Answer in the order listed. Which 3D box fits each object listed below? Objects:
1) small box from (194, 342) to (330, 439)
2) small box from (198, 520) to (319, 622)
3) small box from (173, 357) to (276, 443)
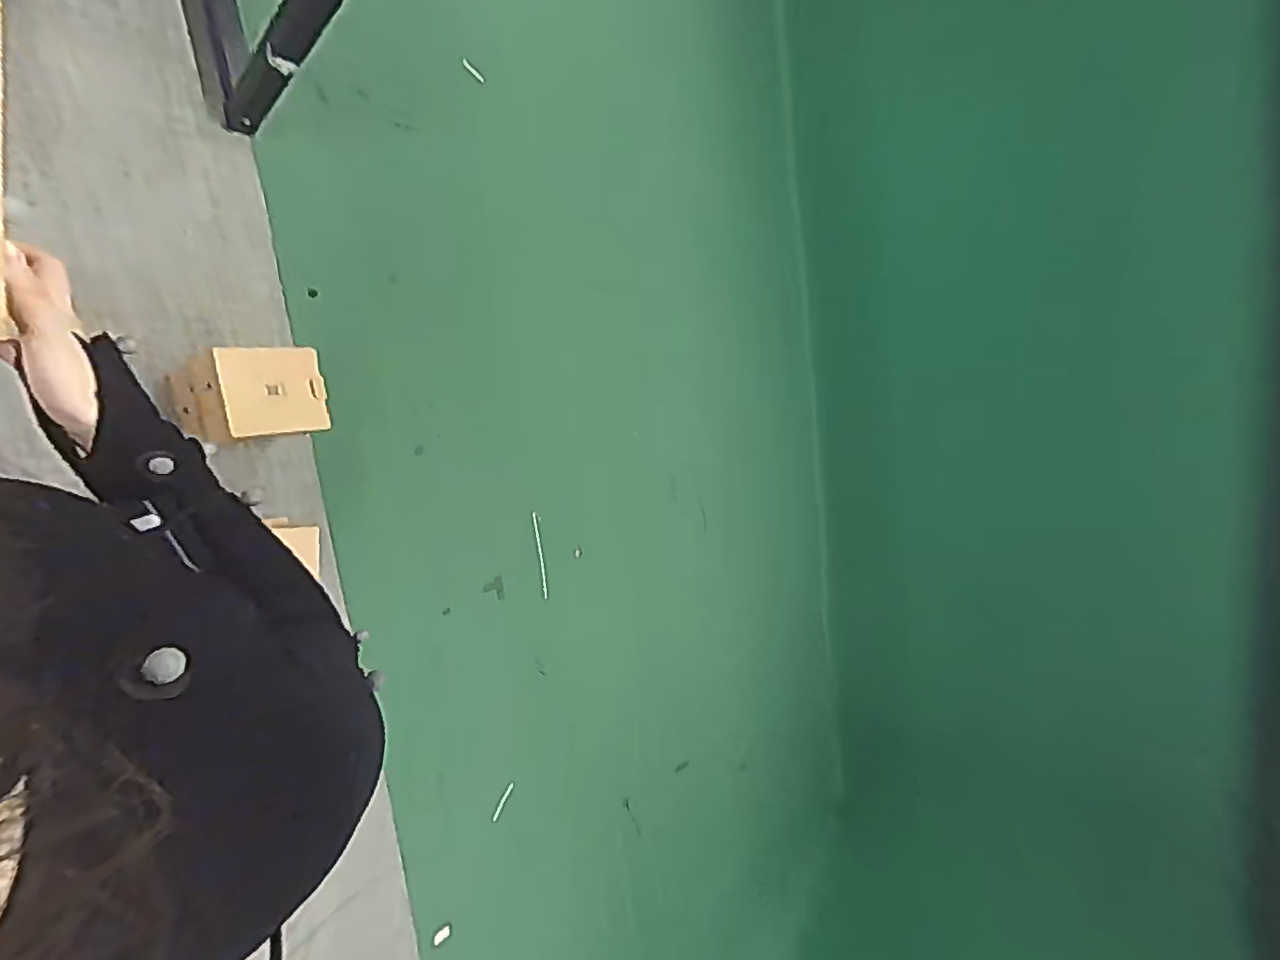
[{"bbox_3d":[-0.759,-0.178,1.081,0.179,0.176,0.168,-17,102,-50],"label":"small box"},{"bbox_3d":[-0.759,0.170,1.074,0.168,0.176,0.179,1,89,-48],"label":"small box"},{"bbox_3d":[-0.887,-0.175,1.181,0.179,0.176,0.168,-18,103,-48],"label":"small box"}]
